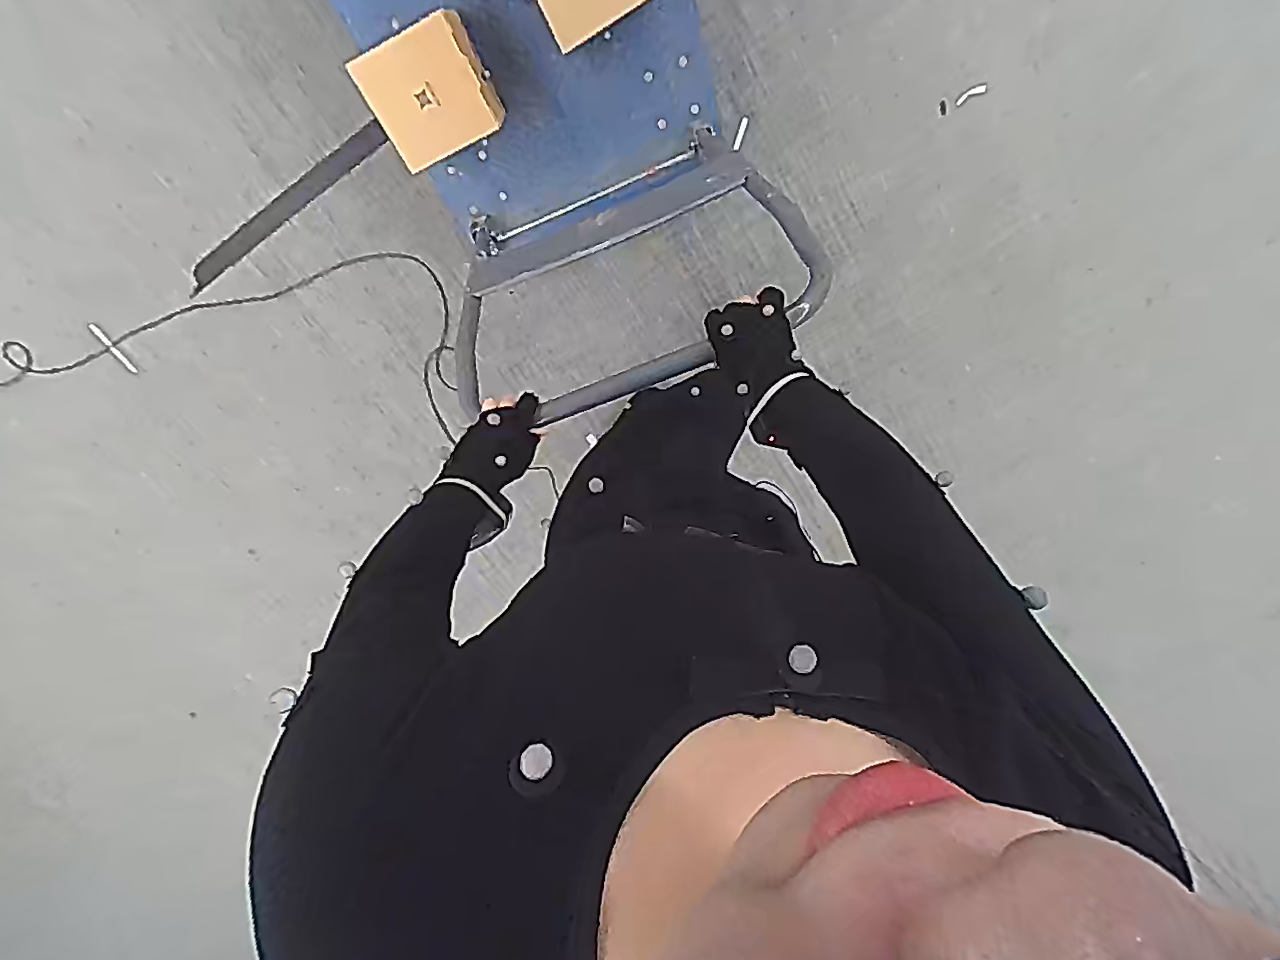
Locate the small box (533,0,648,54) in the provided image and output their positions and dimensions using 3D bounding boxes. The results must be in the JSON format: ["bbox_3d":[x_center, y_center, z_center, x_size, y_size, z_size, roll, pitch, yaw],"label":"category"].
[{"bbox_3d":[-0.093,-0.807,0.848,0.179,0.176,0.168,-25,129,12],"label":"small box"}]

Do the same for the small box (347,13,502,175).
[{"bbox_3d":[-0.355,-0.661,0.931,0.179,0.176,0.168,-23,129,8],"label":"small box"}]
